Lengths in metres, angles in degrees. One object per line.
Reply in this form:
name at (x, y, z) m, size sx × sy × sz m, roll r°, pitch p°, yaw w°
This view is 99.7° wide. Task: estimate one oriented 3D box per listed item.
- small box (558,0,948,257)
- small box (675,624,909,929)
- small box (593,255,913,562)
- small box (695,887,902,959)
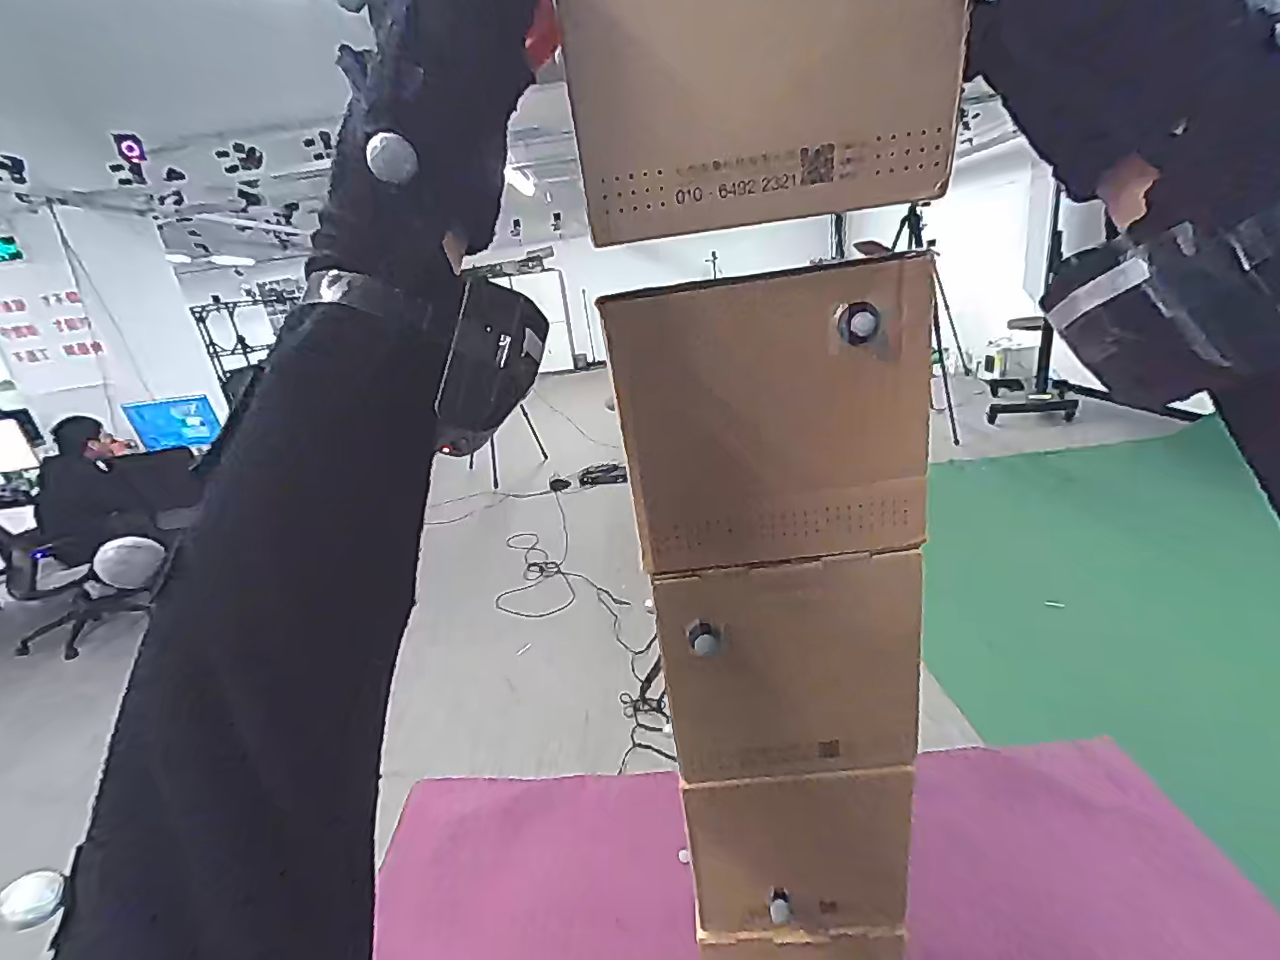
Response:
small box at (0.049, -0.224, 0.303) m, size 0.168 × 0.176 × 0.179 m, roll -7°, pitch 24°, yaw 4°
small box at (0.121, 0.255, 0.489) m, size 0.168 × 0.176 × 0.179 m, roll -7°, pitch 20°, yaw 5°
small box at (0.074, -0.051, 0.386) m, size 0.179 × 0.176 × 0.168 m, roll -7°, pitch 18°, yaw 4°
small box at (0.142, 0.408, 0.540) m, size 0.168 × 0.176 × 0.179 m, roll -7°, pitch 20°, yaw 5°
